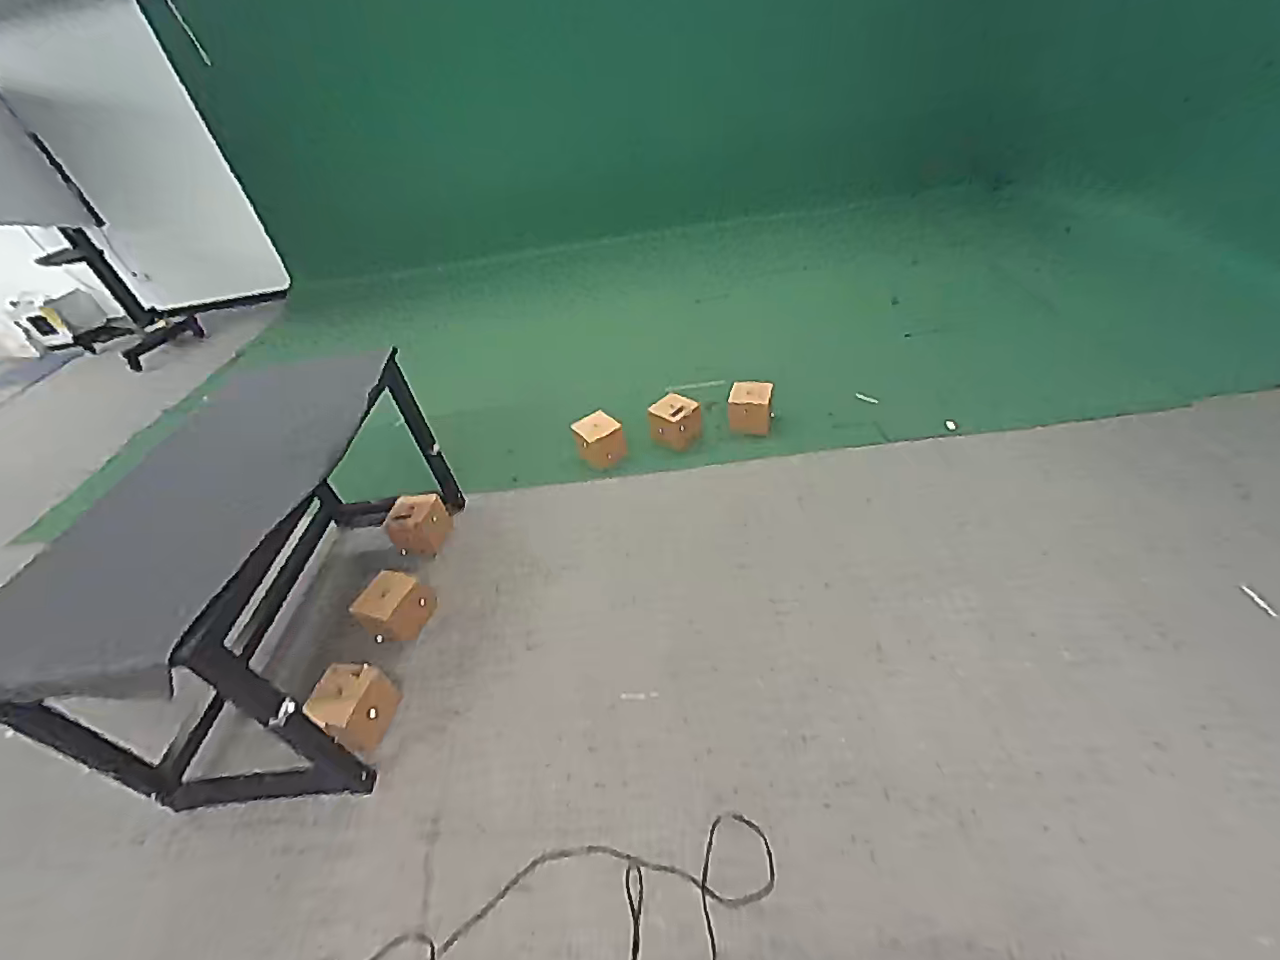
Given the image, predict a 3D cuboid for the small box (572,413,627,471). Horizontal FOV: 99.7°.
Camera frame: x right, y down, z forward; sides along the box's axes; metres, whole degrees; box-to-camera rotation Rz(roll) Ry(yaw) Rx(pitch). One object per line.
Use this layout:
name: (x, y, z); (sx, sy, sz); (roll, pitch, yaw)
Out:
small box: (-0.178, -0.166, 2.410); (0.168, 0.176, 0.179); (-31, 45, -22)

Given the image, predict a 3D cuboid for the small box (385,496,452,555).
small box: (-0.875, 0.186, 2.156); (0.168, 0.176, 0.179); (-3, 40, 8)

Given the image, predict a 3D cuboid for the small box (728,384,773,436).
small box: (0.497, -0.311, 2.422); (0.179, 0.176, 0.168); (6, 44, 19)

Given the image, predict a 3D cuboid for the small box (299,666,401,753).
small box: (-0.837, 0.675, 1.585); (0.168, 0.176, 0.179); (1, 43, 14)

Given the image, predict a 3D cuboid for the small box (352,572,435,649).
small box: (-0.830, 0.447, 1.847); (0.168, 0.176, 0.179); (6, 45, 20)
